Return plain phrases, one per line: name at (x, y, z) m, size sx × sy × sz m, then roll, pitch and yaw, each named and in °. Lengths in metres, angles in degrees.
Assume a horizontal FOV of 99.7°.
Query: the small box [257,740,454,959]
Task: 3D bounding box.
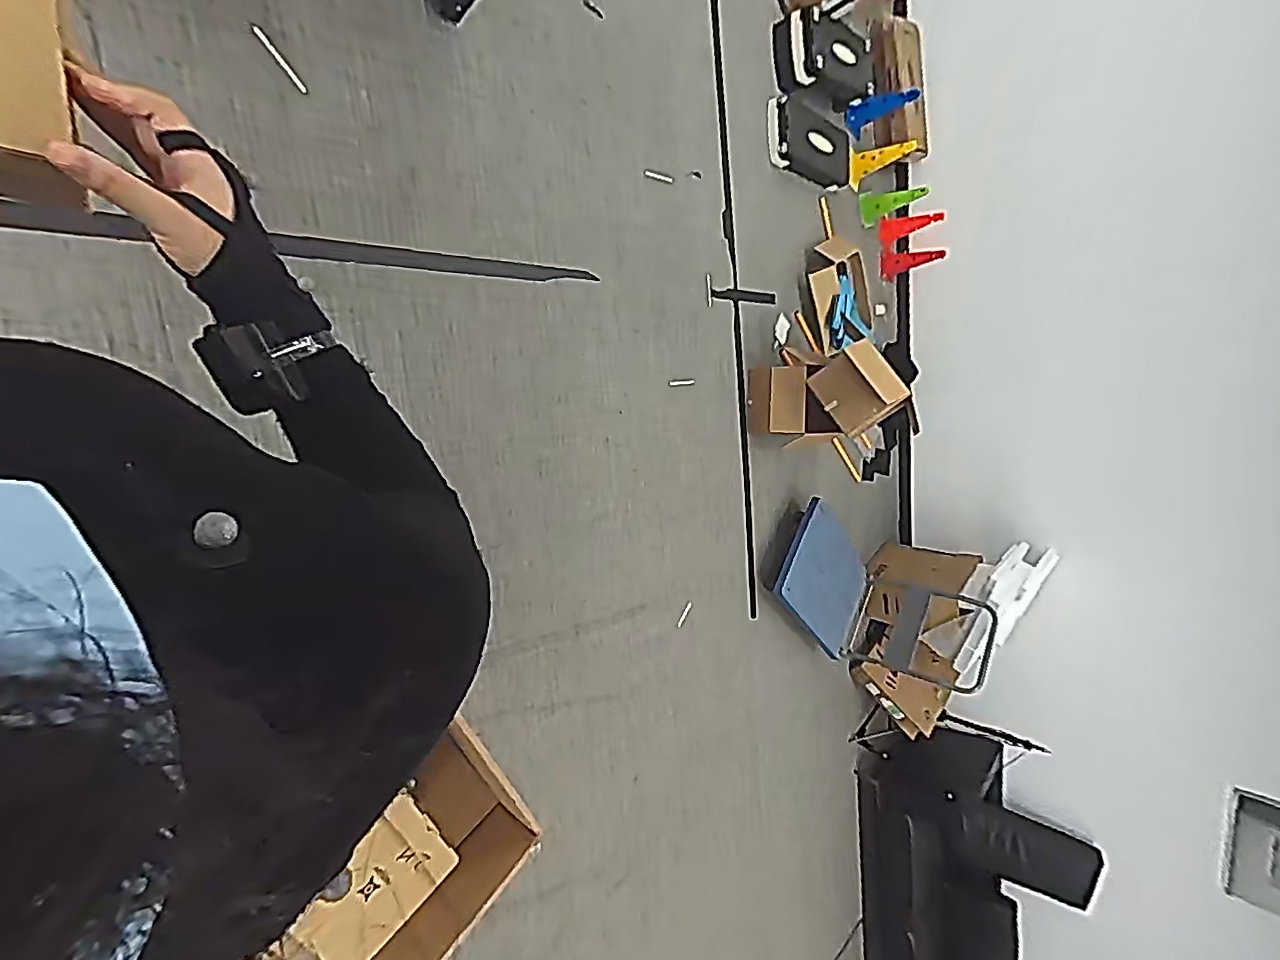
small box at (-0.404, 0.514, 0.761) m, size 0.179 × 0.176 × 0.168 m, roll -38°, pitch 118°, yaw -35°
